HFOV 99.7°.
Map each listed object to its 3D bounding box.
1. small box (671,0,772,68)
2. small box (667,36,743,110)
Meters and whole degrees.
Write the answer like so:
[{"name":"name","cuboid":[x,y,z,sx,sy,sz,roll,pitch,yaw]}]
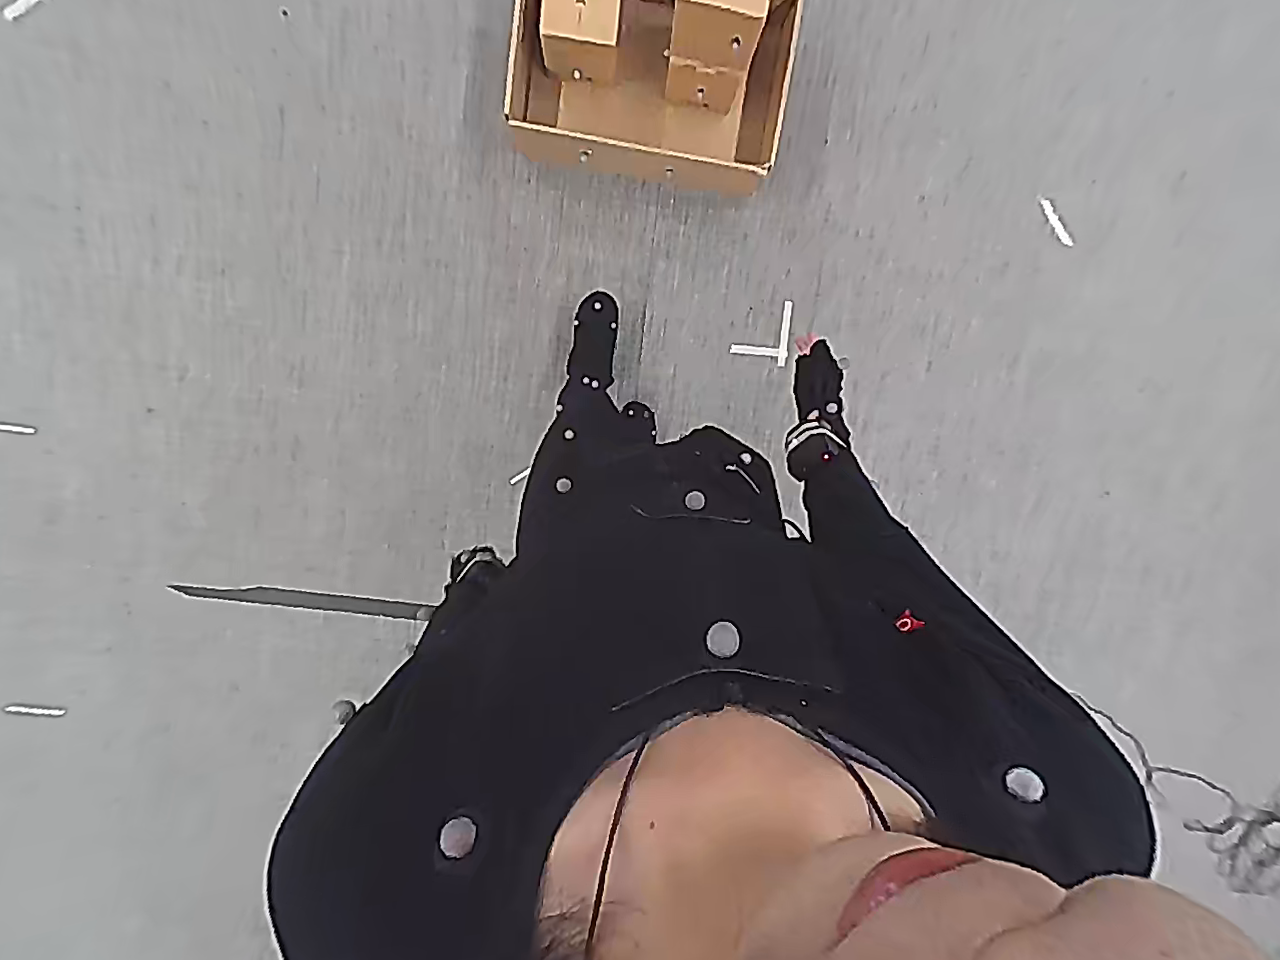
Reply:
[{"name":"small box","cuboid":[0.166,-0.964,1.071,0.179,0.176,0.168,10,97,-2]},{"name":"small box","cuboid":[0.156,-0.986,1.234,0.168,0.176,0.179,10,100,-1]}]
